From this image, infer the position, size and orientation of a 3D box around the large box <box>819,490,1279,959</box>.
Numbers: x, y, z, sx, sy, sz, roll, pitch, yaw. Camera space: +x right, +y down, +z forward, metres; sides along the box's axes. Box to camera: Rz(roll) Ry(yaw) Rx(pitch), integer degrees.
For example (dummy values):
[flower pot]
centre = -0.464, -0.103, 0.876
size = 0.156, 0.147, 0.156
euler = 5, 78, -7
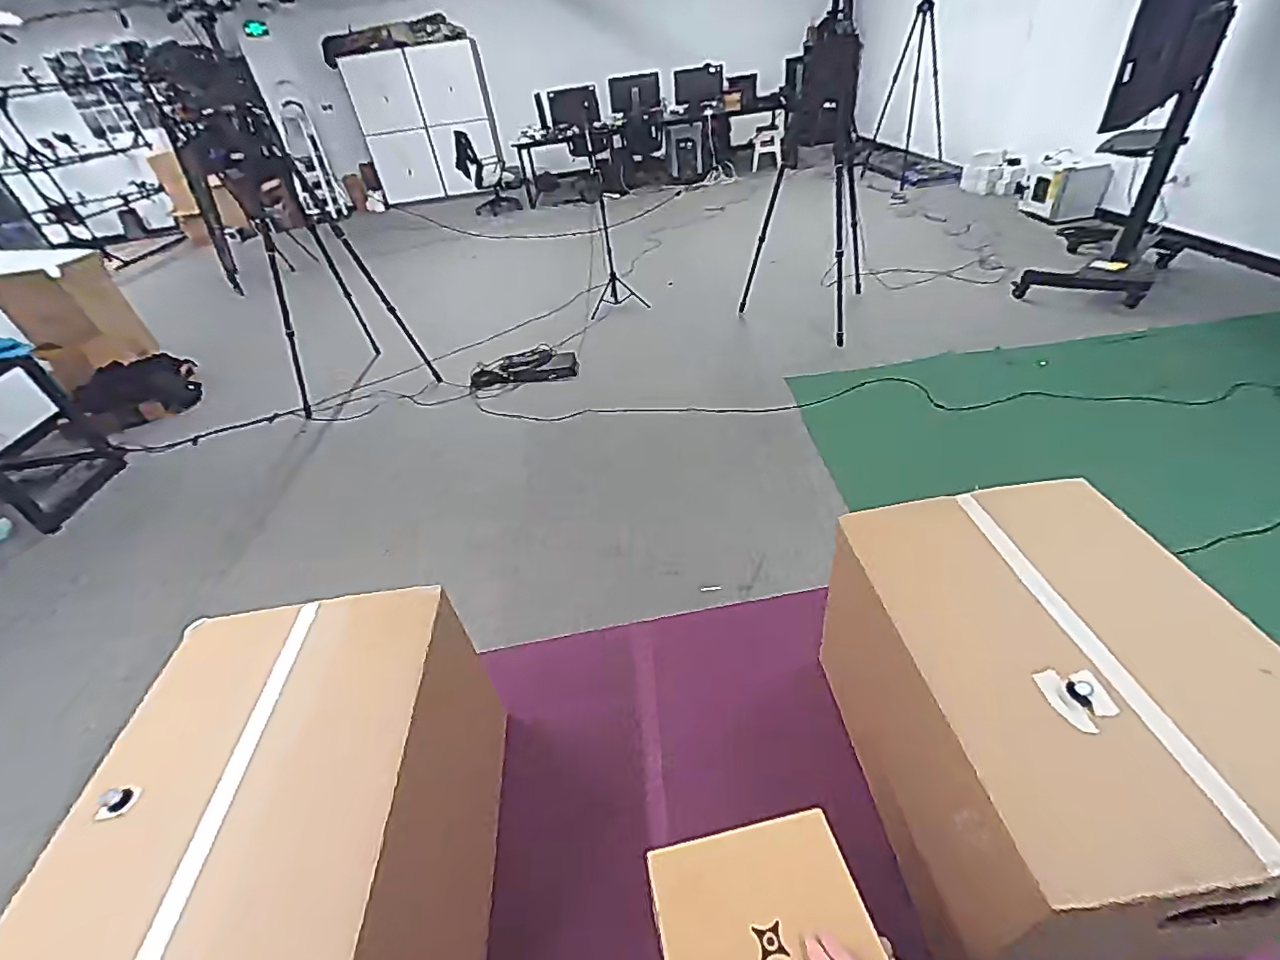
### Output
[large box]
centre = 0.438, 0.268, 0.625
size = 0.320, 0.320, 0.408
euler = -8, 39, 1
